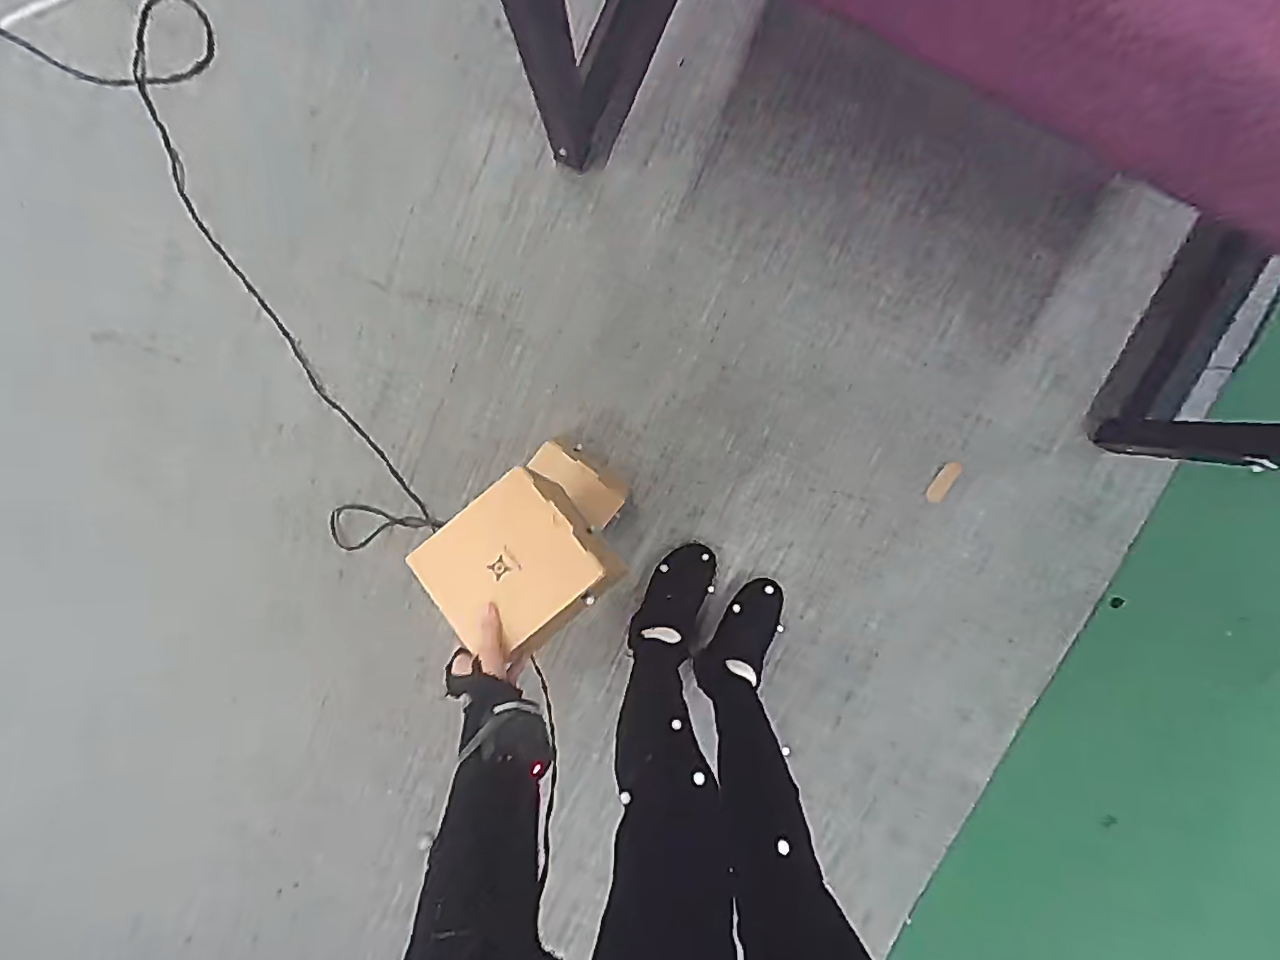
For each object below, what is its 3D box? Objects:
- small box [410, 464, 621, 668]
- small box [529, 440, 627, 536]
[{"bbox_3d":[-0.144,0.110,0.691,0.179,0.176,0.168,-41,78,-2],"label":"small box"},{"bbox_3d":[-0.138,0.043,0.968,0.168,0.176,0.179,39,96,-4],"label":"small box"}]
